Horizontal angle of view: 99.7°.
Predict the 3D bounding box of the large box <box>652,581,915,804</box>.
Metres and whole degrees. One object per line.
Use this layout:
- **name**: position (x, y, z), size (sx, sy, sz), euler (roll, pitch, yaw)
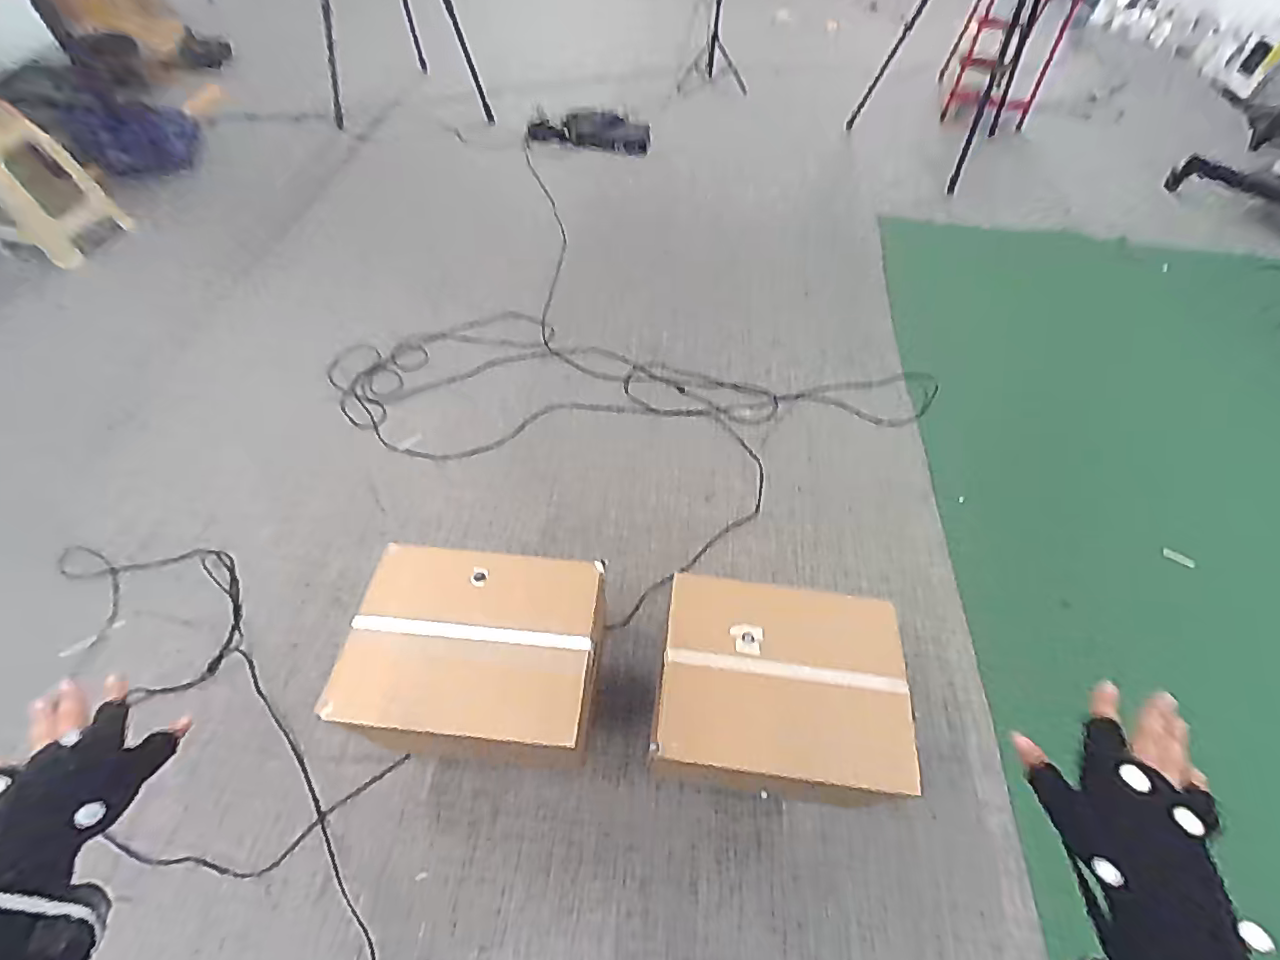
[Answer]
- **large box**: position (0.243, 0.418, 1.044), size (0.408, 0.320, 0.320), euler (7, 55, 3)
